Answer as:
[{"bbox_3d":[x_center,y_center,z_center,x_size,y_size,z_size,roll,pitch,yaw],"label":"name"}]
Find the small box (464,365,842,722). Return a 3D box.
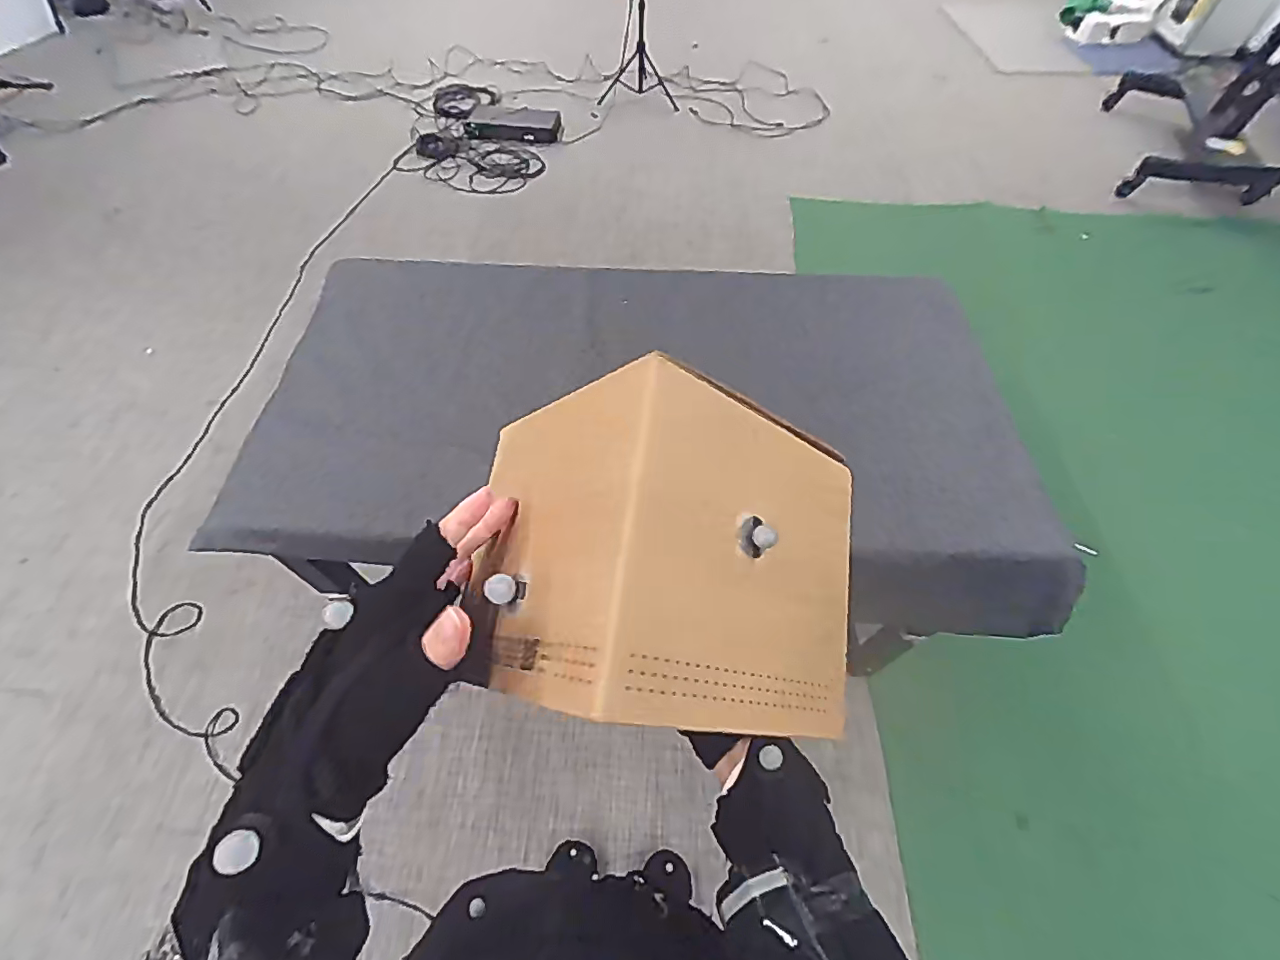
[{"bbox_3d":[0.011,0.057,0.357,0.179,0.168,0.176,22,67,-35],"label":"small box"}]
